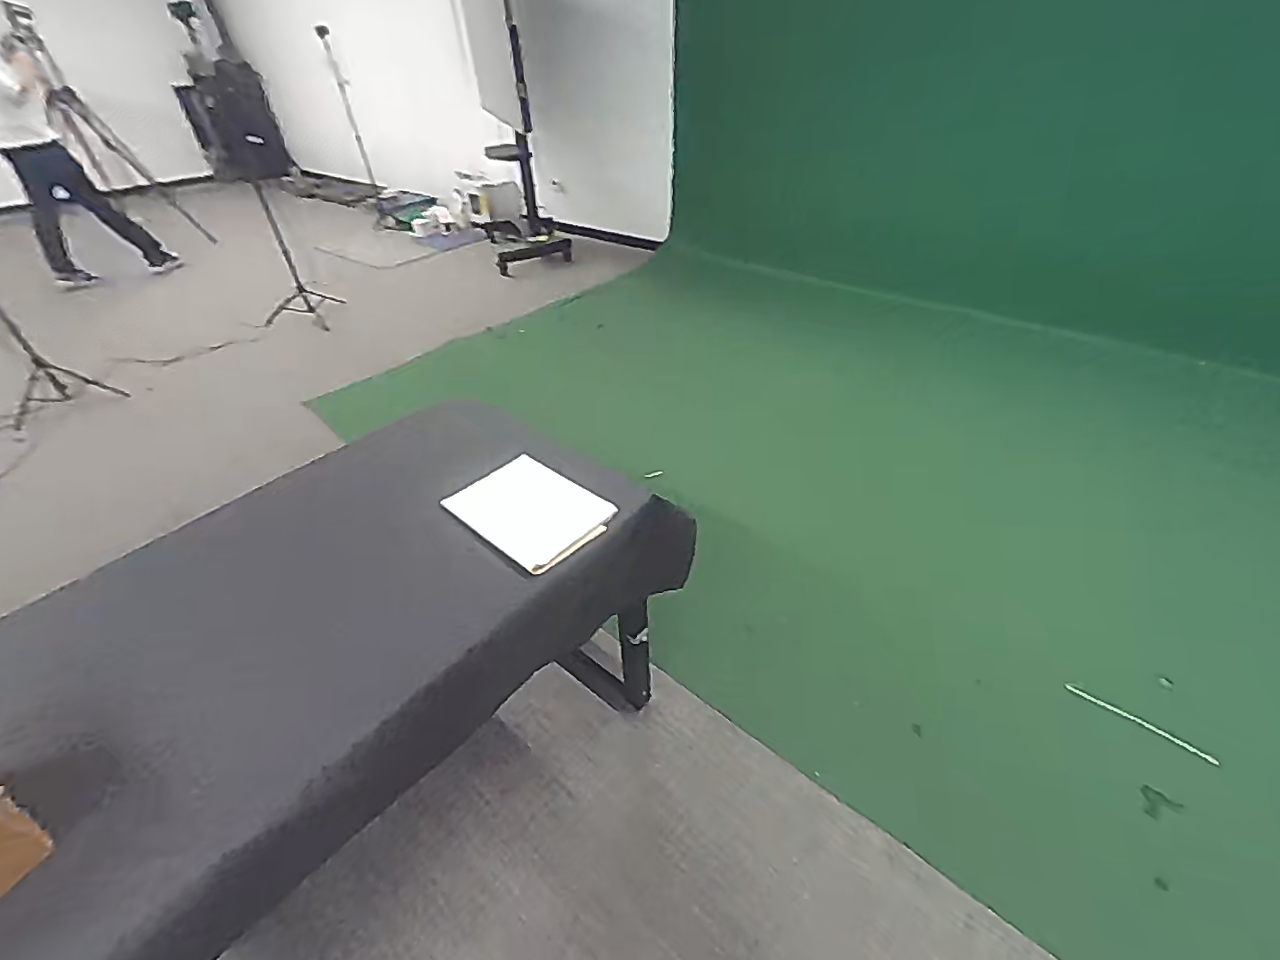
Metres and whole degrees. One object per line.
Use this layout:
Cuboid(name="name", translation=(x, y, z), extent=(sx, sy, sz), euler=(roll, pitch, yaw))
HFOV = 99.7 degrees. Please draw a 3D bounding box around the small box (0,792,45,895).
Cuboid(name="small box", translation=(-0.740, 0.361, 0.497), extent=(0.168, 0.176, 0.179), euler=(16, 41, 21))
